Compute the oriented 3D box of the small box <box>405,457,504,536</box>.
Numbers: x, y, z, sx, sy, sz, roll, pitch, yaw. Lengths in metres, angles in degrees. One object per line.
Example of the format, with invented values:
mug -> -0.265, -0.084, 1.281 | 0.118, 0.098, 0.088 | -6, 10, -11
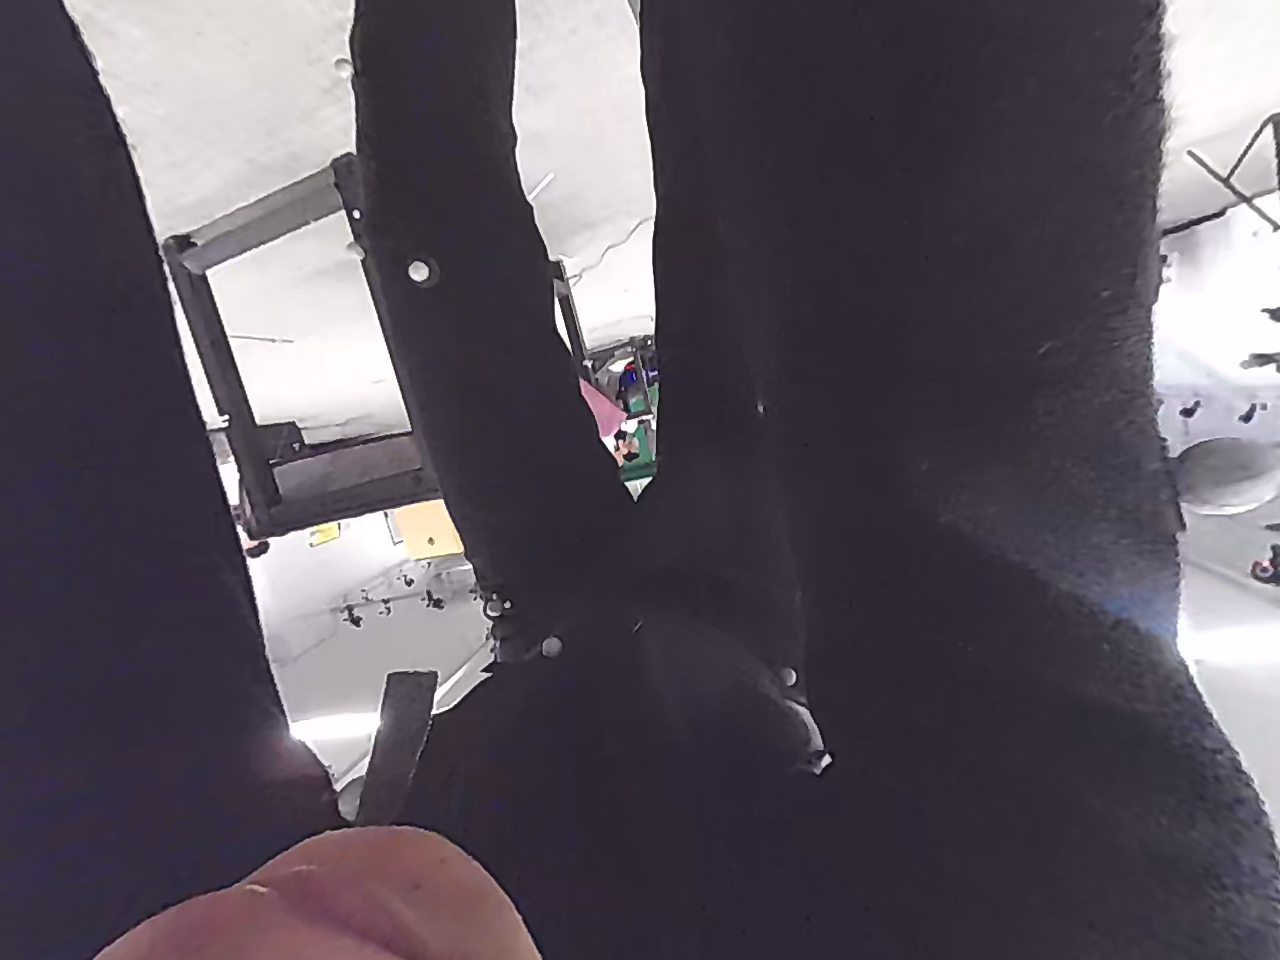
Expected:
small box -> -0.512, 0.040, 1.488 | 0.179, 0.176, 0.168 | -9, -170, 24
